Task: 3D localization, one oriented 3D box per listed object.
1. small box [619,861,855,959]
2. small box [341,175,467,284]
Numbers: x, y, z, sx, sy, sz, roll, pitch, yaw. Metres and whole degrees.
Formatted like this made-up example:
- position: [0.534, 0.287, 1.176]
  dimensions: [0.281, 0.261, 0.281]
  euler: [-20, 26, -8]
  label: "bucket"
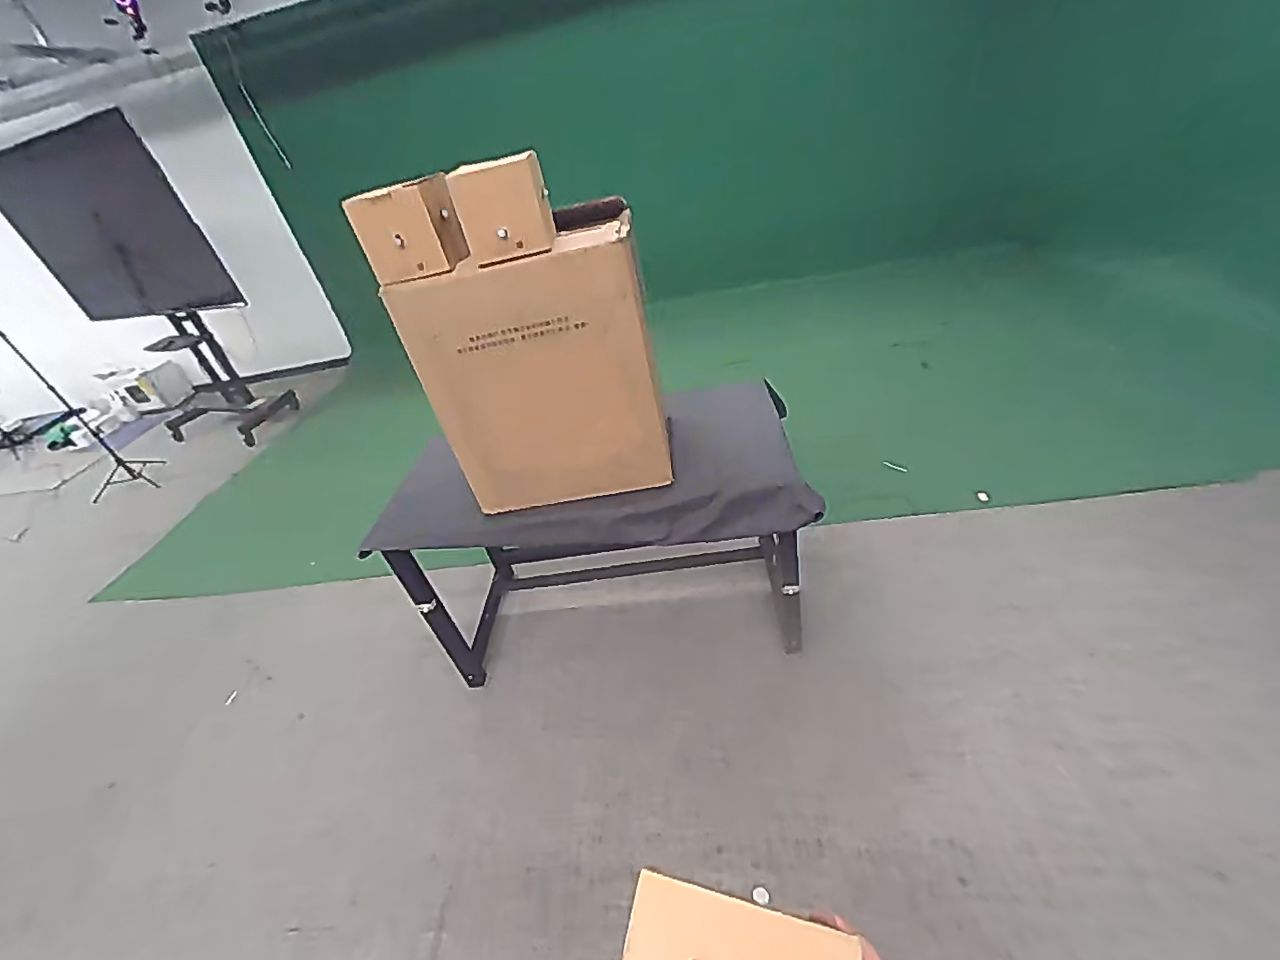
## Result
- position: [0.067, 0.431, 0.422]
  dimensions: [0.168, 0.176, 0.179]
  euler: [7, 52, 14]
  label: "small box"
- position: [-0.497, -0.539, 1.174]
  dimensions: [0.168, 0.176, 0.179]
  euler: [-9, 35, 8]
  label: "small box"
